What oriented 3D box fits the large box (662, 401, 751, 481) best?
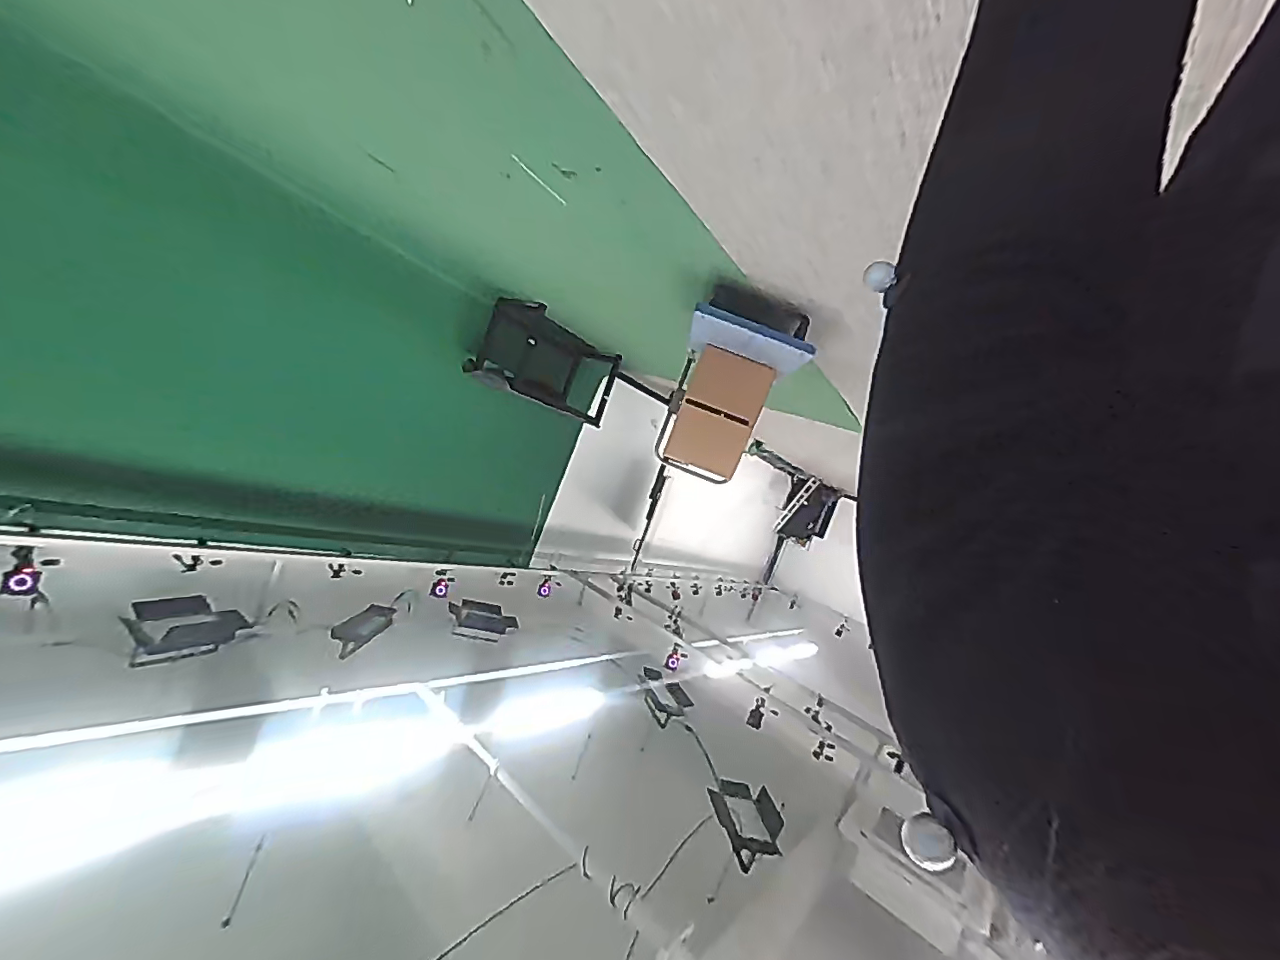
[{"bbox_3d":[0.373,-0.221,3.041,0.408,0.320,0.320,23,-173,4],"label":"large box"}]
